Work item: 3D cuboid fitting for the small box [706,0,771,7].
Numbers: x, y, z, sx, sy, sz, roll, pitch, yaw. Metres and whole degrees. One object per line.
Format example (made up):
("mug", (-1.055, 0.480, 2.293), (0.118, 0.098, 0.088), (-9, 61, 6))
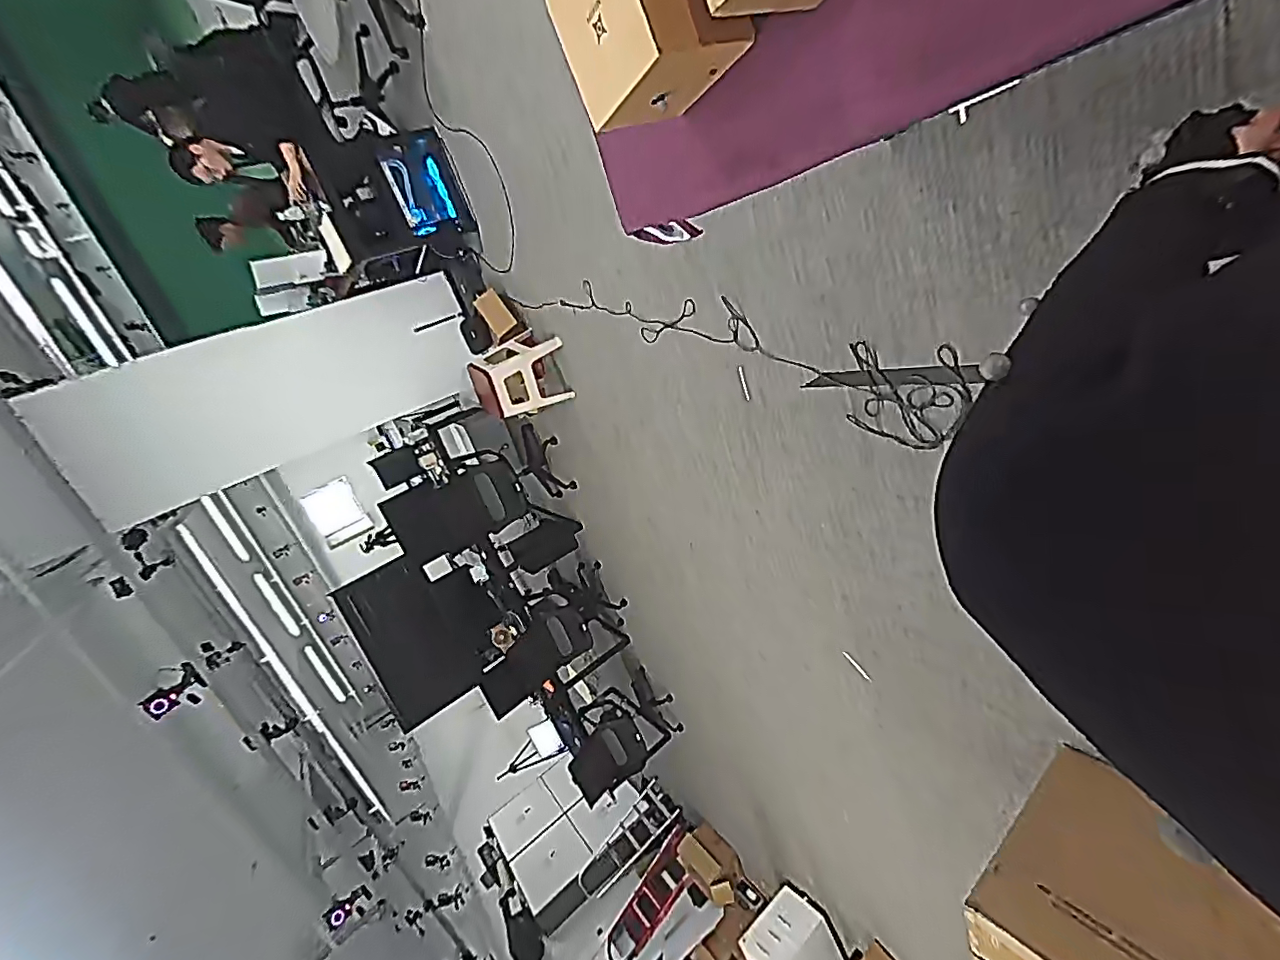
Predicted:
("small box", (0.146, -0.571, 0.475), (0.179, 0.176, 0.168), (7, 122, 59))

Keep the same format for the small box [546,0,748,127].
("small box", (0.010, -0.599, 0.691), (0.168, 0.176, 0.179), (1, 118, 60))
